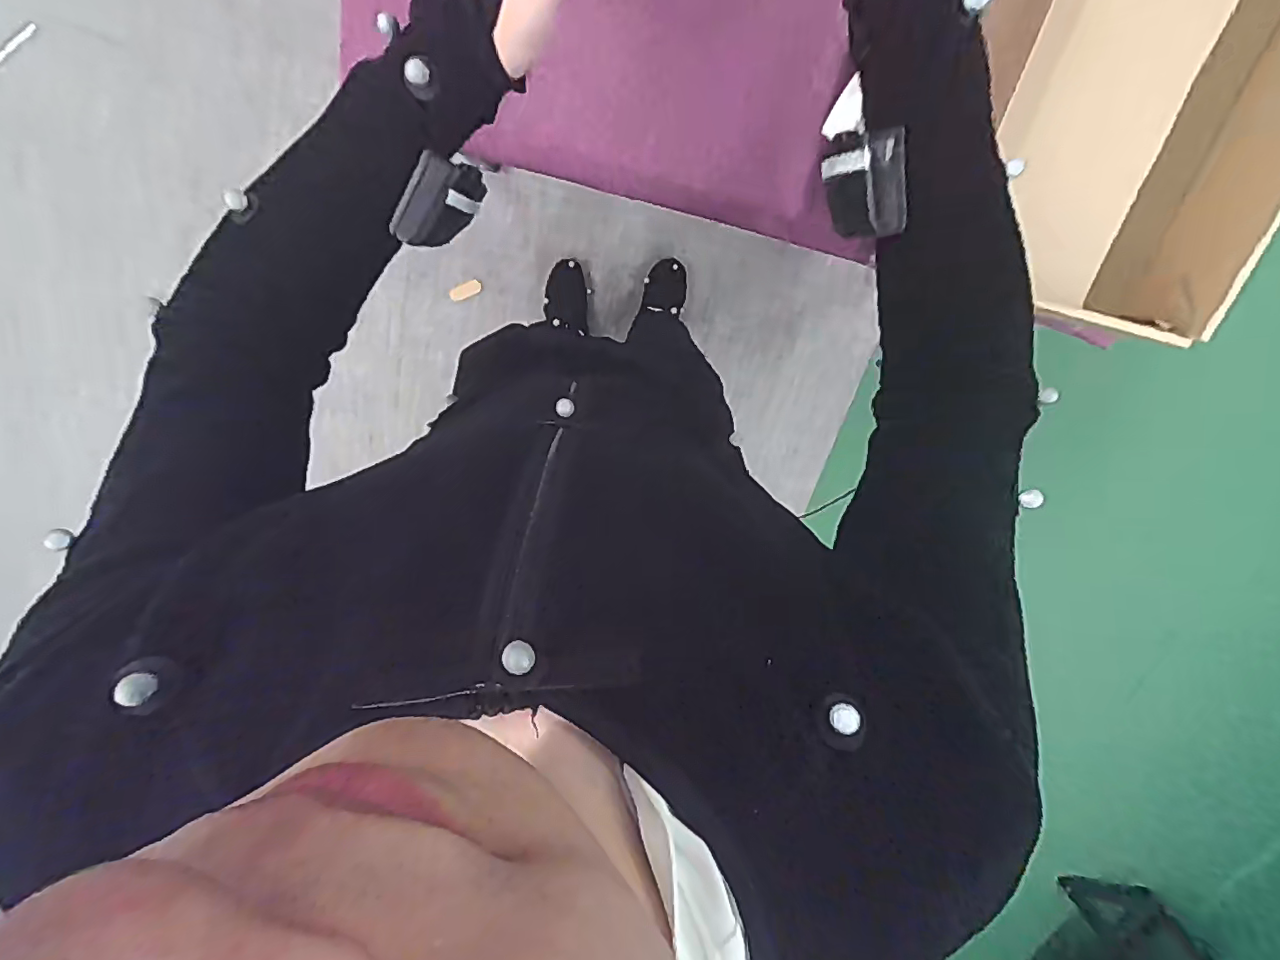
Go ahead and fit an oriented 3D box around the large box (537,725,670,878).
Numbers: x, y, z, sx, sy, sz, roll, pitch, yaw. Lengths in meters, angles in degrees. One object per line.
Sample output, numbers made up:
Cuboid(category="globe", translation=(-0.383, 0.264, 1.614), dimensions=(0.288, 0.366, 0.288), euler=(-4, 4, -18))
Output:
Cuboid(category="large box", translation=(-0.139, 1.204, 2.046), dimensions=(0.408, 0.320, 0.320), euler=(-18, 114, 1))
